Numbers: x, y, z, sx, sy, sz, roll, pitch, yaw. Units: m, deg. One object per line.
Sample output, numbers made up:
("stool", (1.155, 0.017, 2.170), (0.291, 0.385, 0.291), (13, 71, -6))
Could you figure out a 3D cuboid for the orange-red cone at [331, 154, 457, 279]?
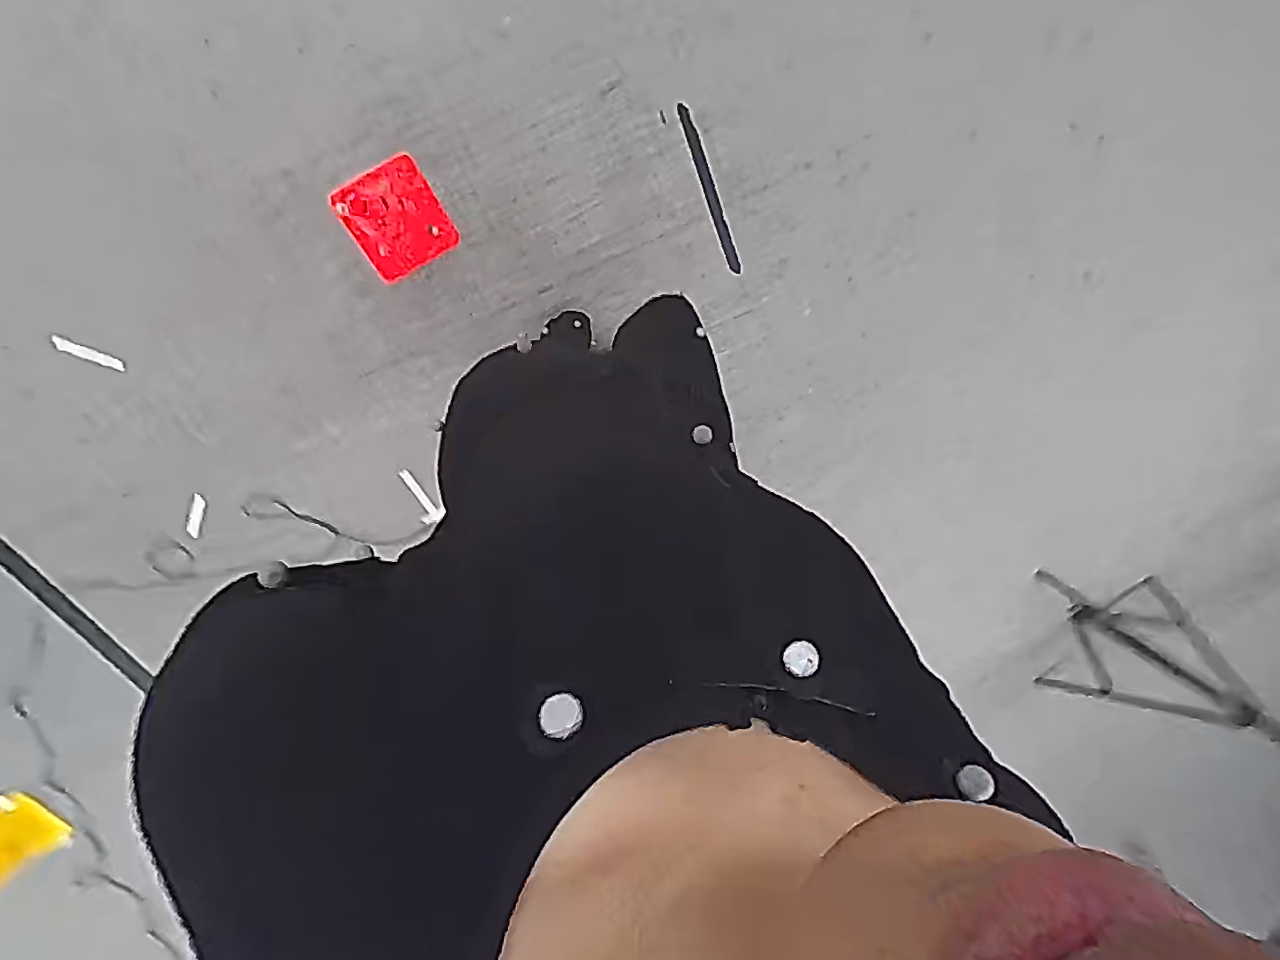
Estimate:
("orange-red cone", (-0.483, -0.500, 1.002), (0.198, 0.360, 0.199), (-30, 114, -2))
